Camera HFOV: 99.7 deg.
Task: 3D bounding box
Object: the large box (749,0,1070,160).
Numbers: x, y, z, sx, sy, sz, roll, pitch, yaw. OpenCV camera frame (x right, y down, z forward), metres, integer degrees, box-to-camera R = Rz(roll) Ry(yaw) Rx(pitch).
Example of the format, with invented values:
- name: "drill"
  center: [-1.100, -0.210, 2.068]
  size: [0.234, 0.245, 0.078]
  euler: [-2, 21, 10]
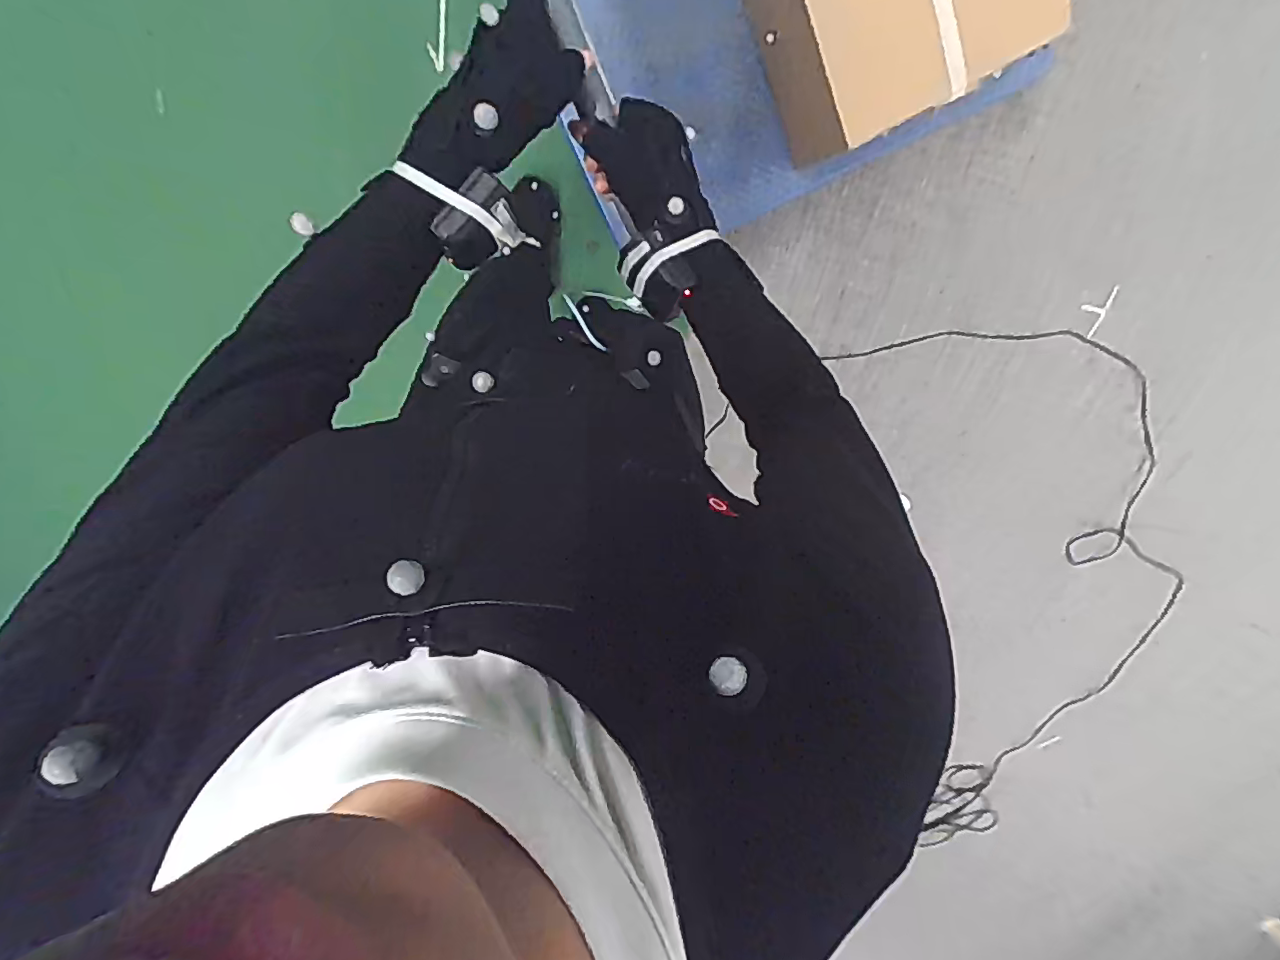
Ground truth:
- name: "large box"
  center: [0.360, -0.783, 0.823]
  size: [0.320, 0.320, 0.408]
  euler: [-24, 112, 11]
